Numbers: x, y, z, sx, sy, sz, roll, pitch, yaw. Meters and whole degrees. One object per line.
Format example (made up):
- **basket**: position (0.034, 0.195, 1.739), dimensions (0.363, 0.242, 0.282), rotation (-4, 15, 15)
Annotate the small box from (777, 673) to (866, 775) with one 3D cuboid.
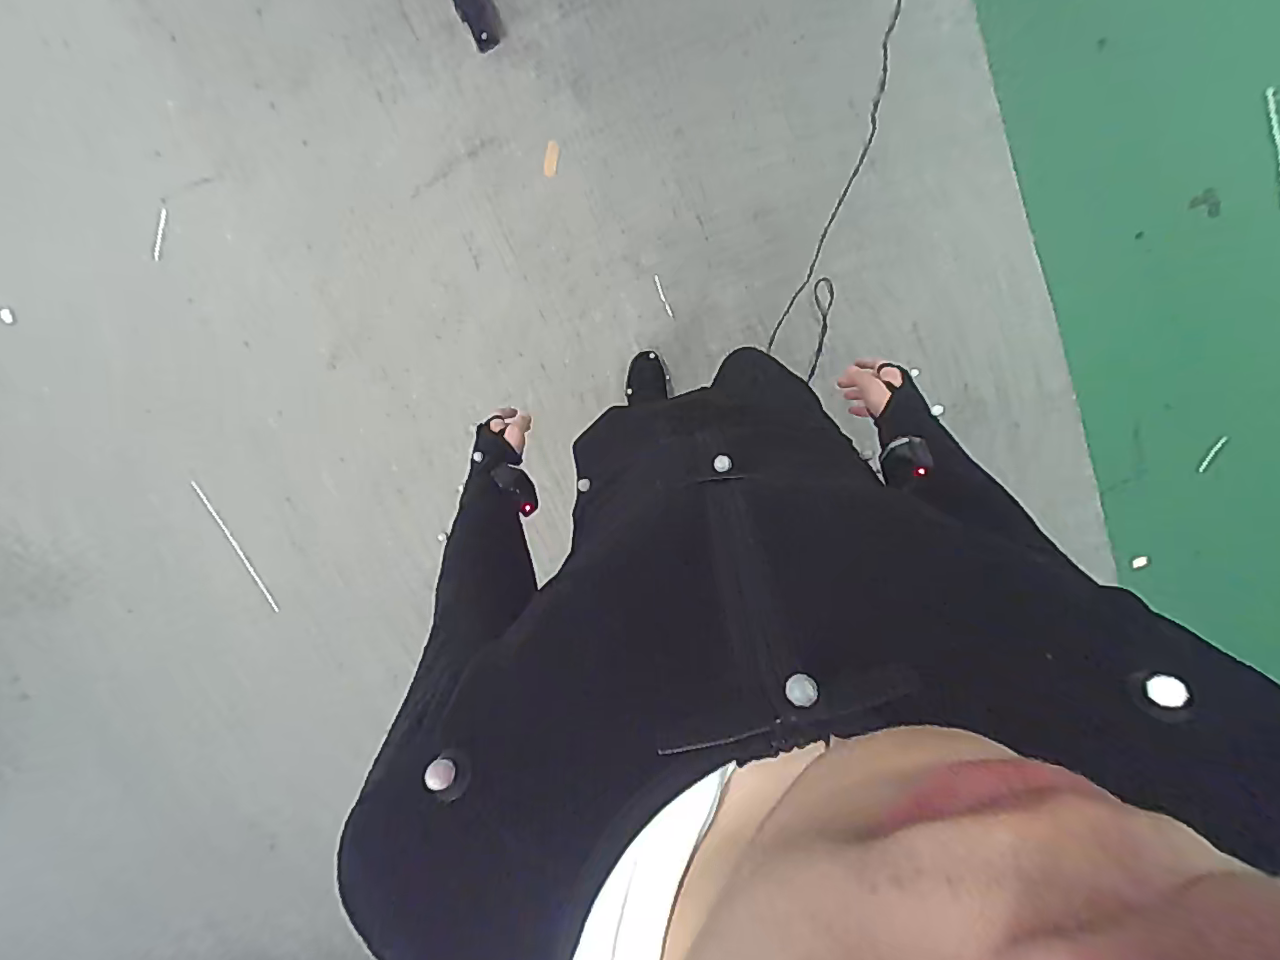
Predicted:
- **small box**: position (0.501, 0.682, 1.526), dimensions (0.179, 0.176, 0.168), rotation (-23, 100, 3)
